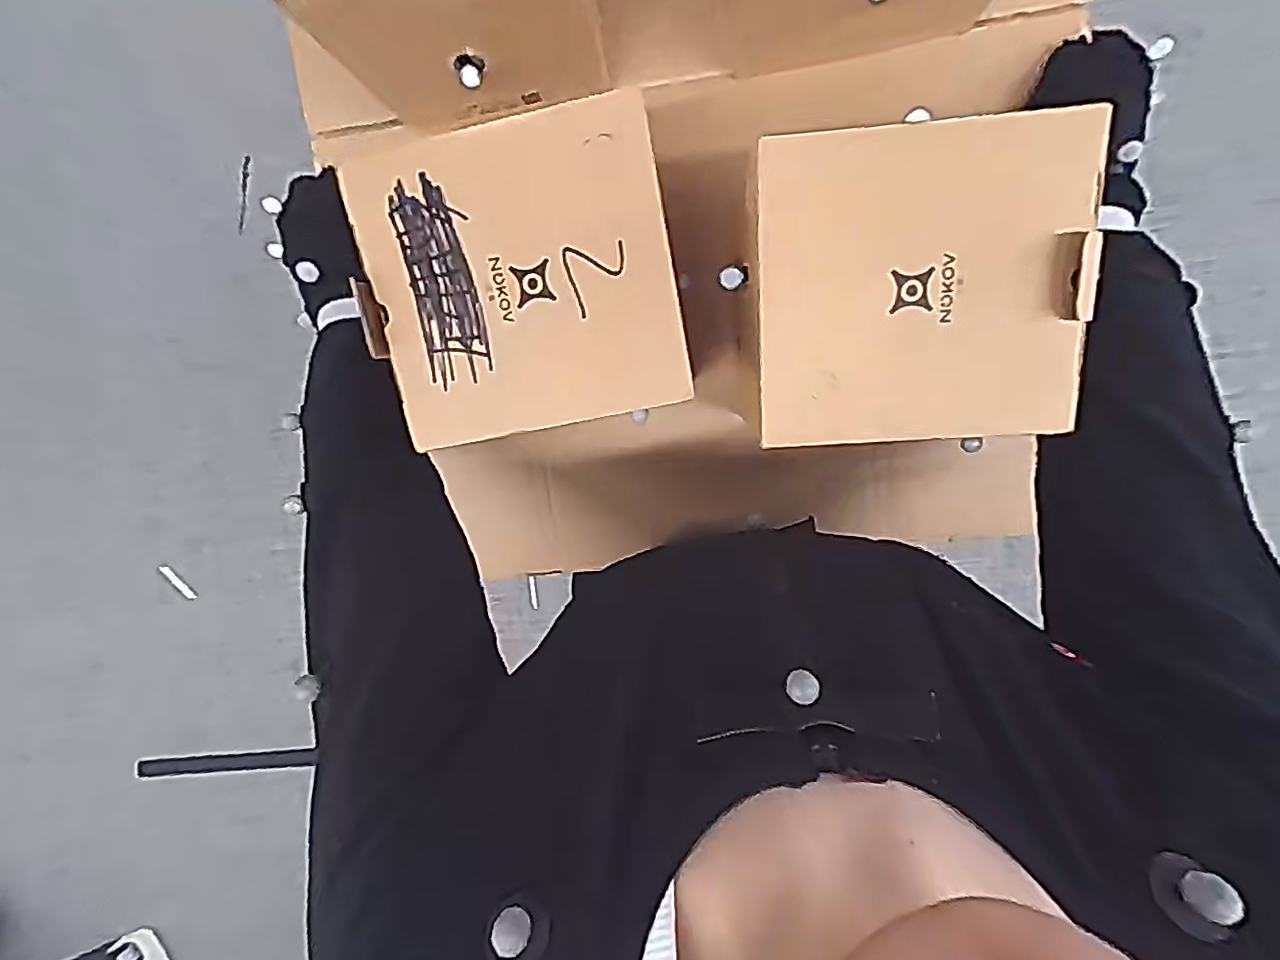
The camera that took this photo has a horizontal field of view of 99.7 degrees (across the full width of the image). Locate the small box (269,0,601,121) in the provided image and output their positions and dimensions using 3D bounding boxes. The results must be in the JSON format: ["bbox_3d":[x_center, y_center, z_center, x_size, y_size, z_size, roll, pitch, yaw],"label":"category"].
[{"bbox_3d":[-0.125,-0.363,0.346,0.168,0.176,0.179,-7,100,5],"label":"small box"}]
